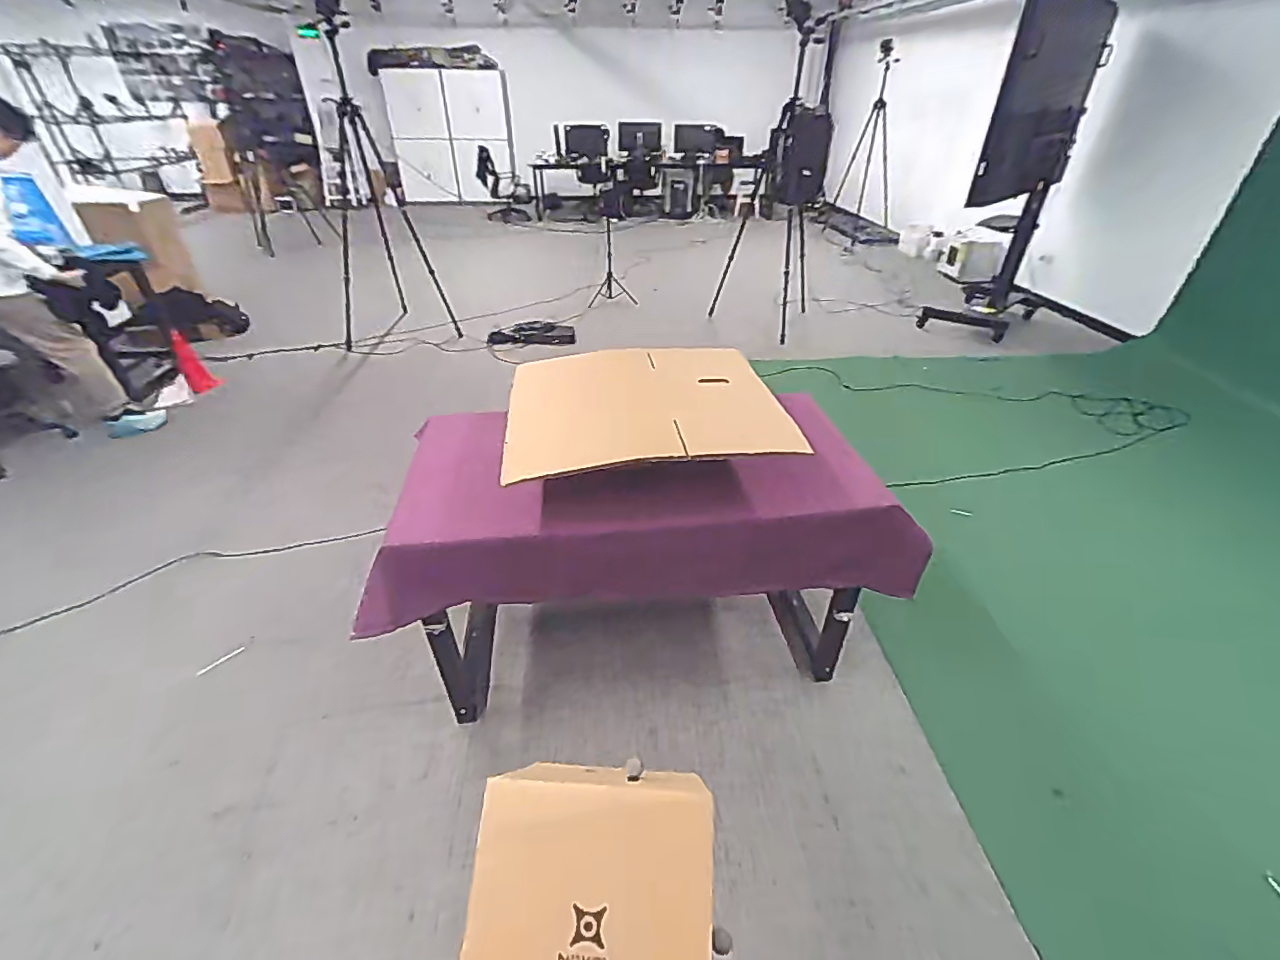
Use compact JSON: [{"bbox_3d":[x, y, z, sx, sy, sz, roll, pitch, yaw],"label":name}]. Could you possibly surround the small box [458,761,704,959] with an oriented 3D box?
[{"bbox_3d":[-0.038,0.333,0.439,0.168,0.176,0.179,1,68,2],"label":"small box"}]
